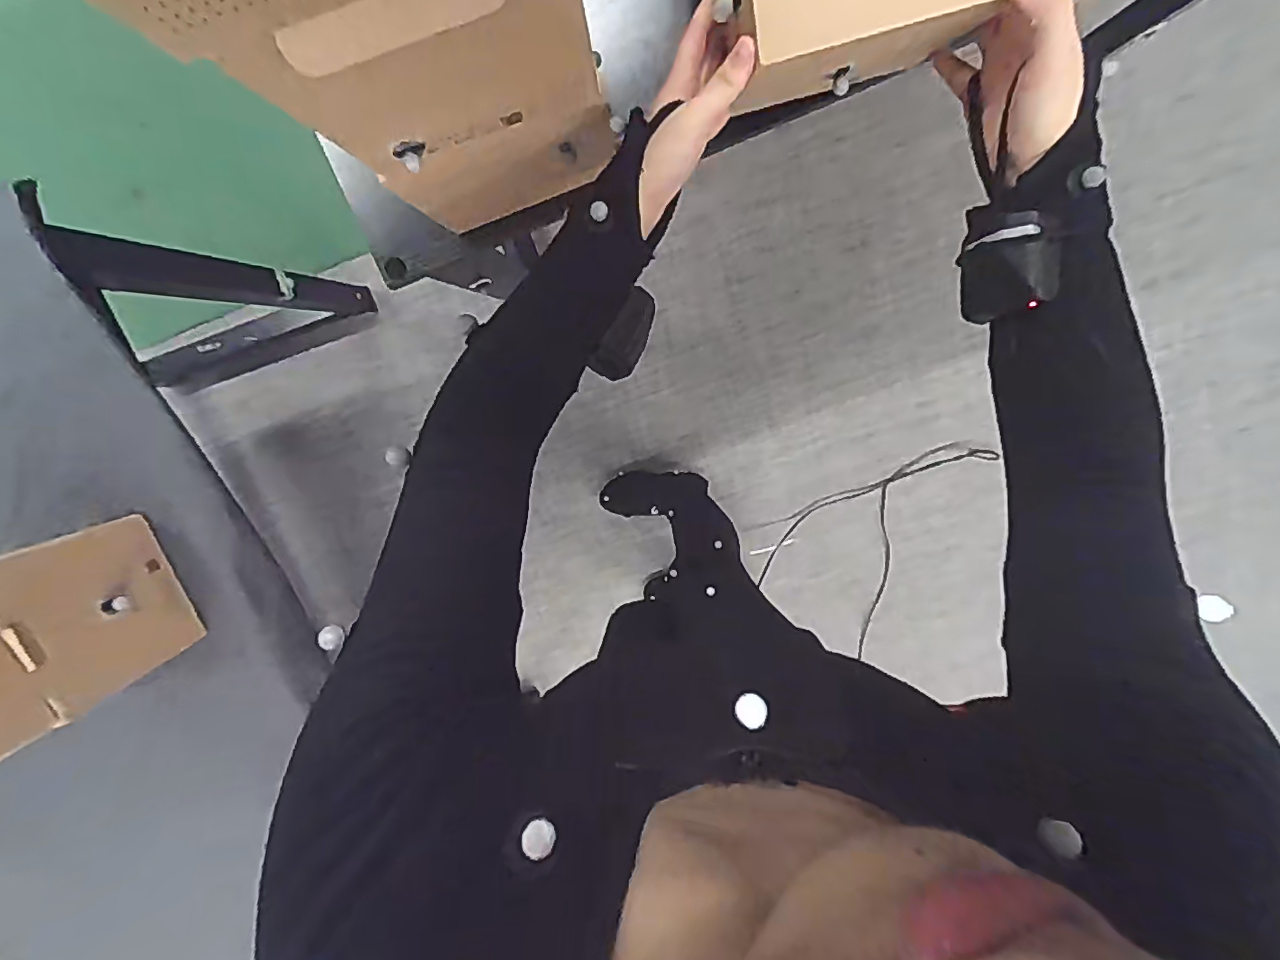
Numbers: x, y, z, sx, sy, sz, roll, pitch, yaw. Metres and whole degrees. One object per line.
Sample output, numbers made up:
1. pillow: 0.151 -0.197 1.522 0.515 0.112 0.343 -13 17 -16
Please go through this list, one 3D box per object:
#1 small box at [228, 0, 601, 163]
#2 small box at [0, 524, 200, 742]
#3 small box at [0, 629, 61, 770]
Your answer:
1. small box: -0.125 -0.296 0.284 0.168 0.176 0.179 -17 102 4
2. small box: -0.627 0.163 0.576 0.179 0.176 0.168 -16 103 6
3. small box: -0.638 0.194 0.416 0.168 0.176 0.179 -18 104 7
